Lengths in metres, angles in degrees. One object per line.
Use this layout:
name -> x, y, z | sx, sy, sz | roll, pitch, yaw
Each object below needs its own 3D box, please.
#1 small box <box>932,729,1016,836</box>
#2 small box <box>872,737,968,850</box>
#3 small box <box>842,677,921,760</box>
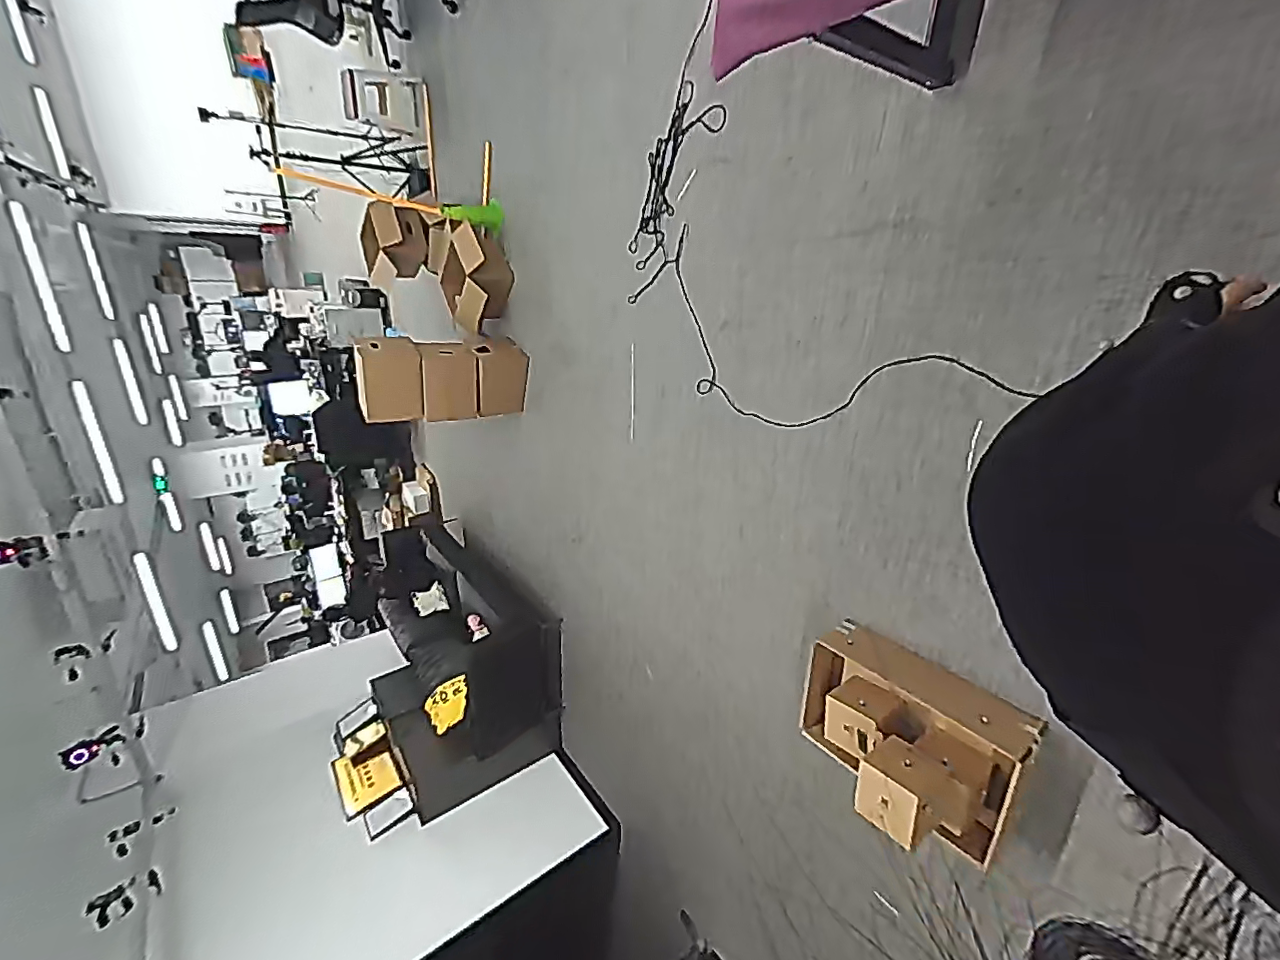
small box -> 0.928, 0.847, 1.536 | 0.179, 0.176, 0.168 | 23, 118, 53
small box -> 0.767, 0.846, 1.479 | 0.168, 0.176, 0.179 | 21, 116, 54
small box -> 0.774, 0.764, 1.735 | 0.179, 0.176, 0.168 | 16, 114, 52
